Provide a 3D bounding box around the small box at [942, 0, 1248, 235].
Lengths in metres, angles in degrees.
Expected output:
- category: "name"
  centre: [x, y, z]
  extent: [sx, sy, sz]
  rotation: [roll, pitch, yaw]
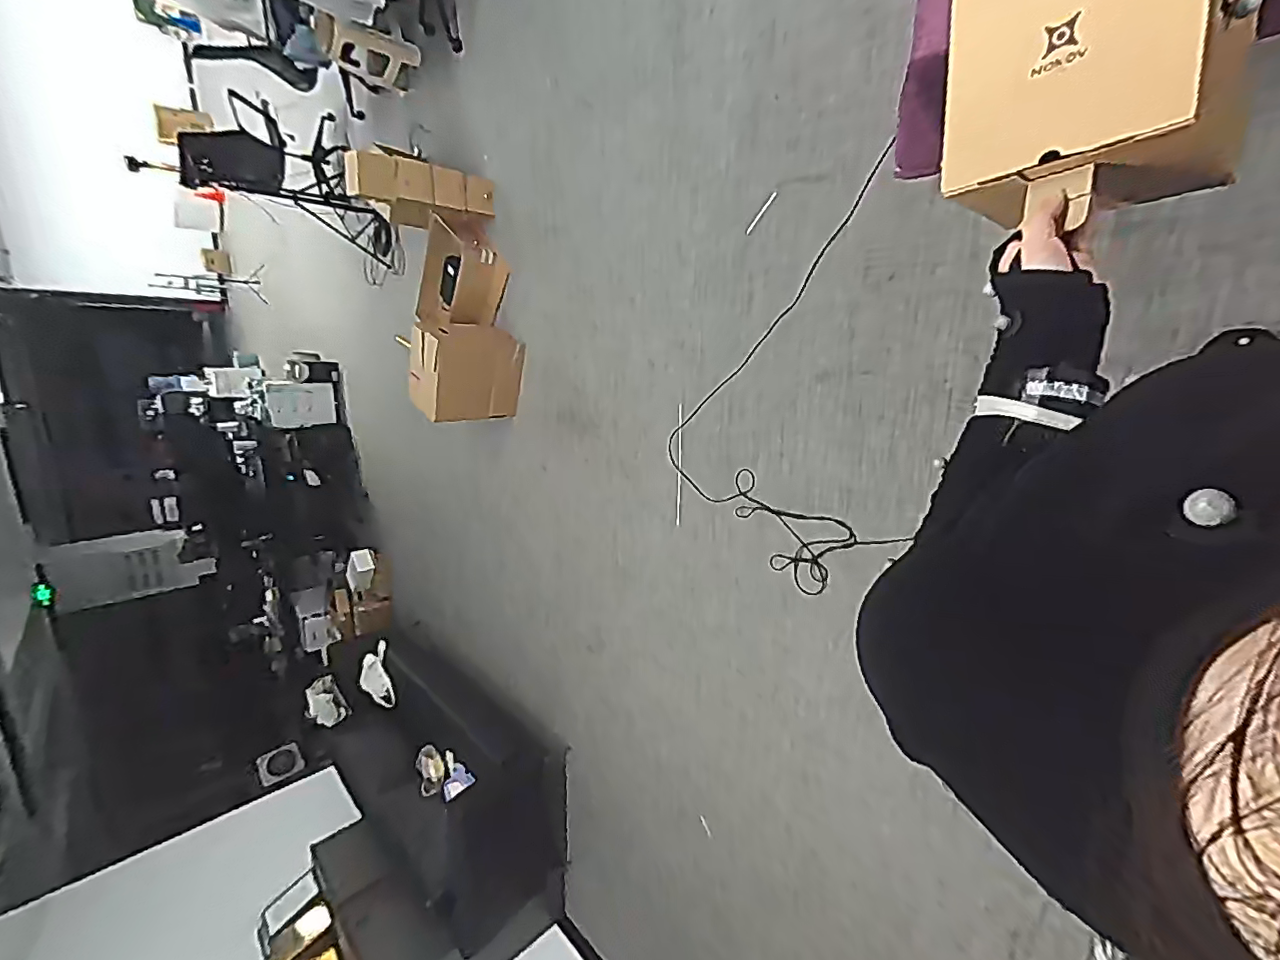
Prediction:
- category: "small box"
  centre: [0.393, -0.338, 0.473]
  extent: [0.168, 0.176, 0.179]
  rotation: [10, 103, 52]
